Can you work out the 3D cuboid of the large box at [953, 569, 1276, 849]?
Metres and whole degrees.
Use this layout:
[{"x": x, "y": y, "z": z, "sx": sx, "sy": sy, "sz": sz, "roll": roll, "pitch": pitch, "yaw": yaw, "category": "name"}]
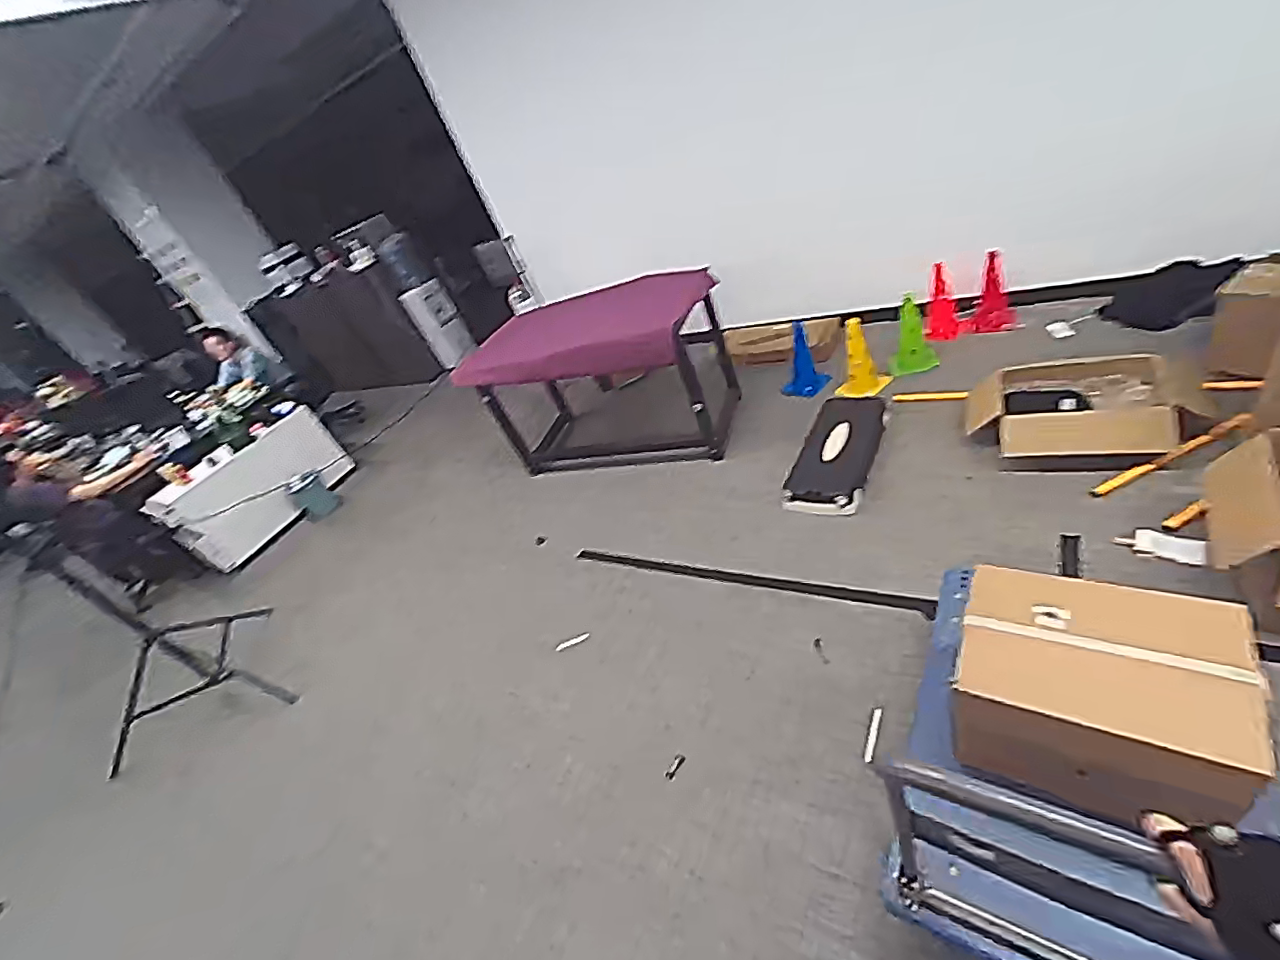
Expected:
[{"x": 0.862, "y": 0.414, "z": 1.041, "sx": 0.408, "sy": 0.320, "sz": 0.320, "roll": 5, "pitch": 43, "yaw": 38, "category": "large box"}]
